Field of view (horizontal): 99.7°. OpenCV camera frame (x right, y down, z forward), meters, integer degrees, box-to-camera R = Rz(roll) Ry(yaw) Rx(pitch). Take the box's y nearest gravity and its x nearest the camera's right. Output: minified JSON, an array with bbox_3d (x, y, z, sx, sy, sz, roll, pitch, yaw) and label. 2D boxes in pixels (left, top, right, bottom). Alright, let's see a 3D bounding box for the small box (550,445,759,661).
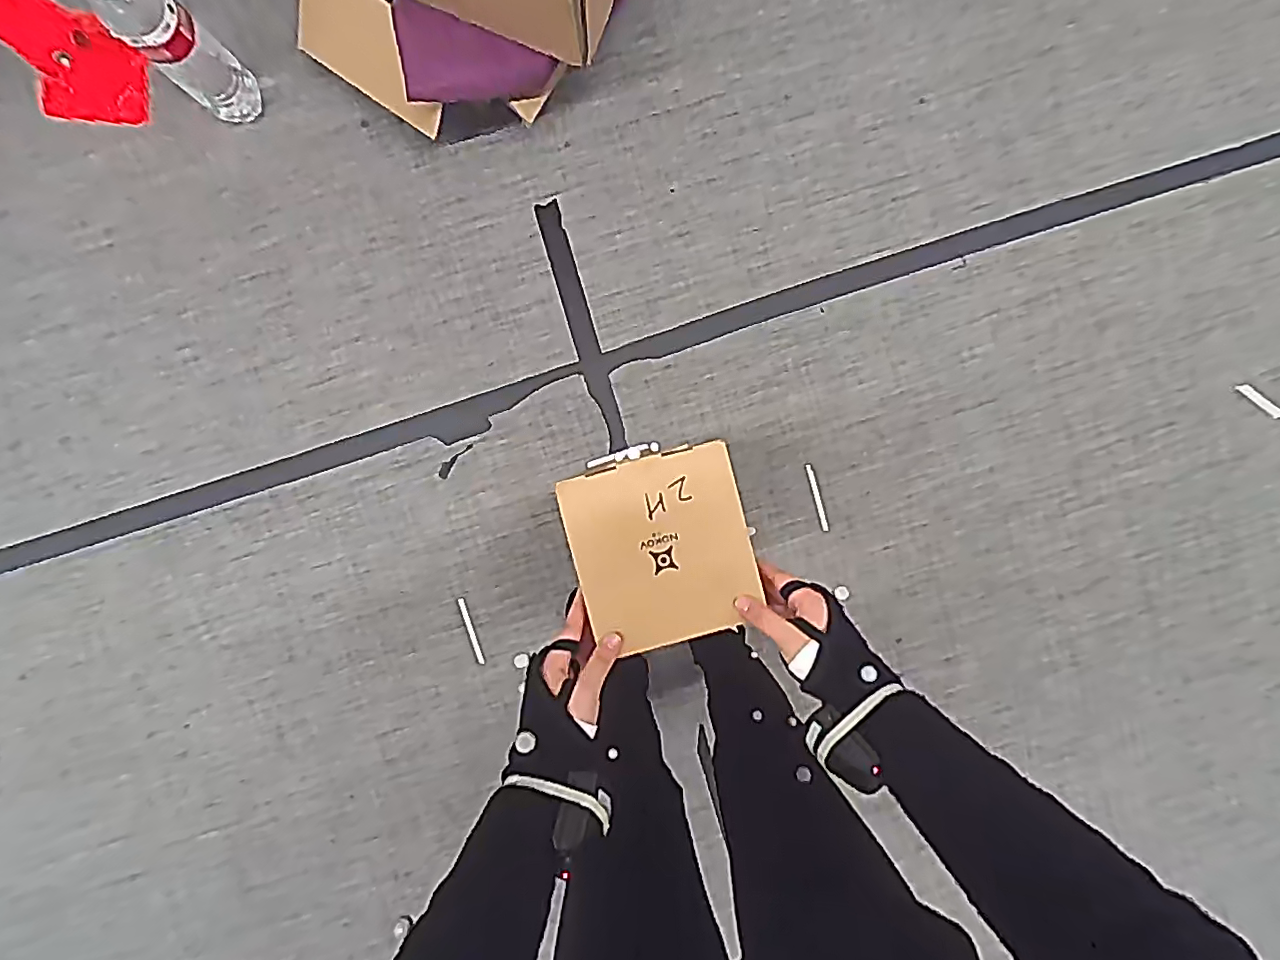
[{"bbox_3d":[0.013,0.067,0.587,0.168,0.176,0.179,-15,91,-2],"label":"small box"}]
